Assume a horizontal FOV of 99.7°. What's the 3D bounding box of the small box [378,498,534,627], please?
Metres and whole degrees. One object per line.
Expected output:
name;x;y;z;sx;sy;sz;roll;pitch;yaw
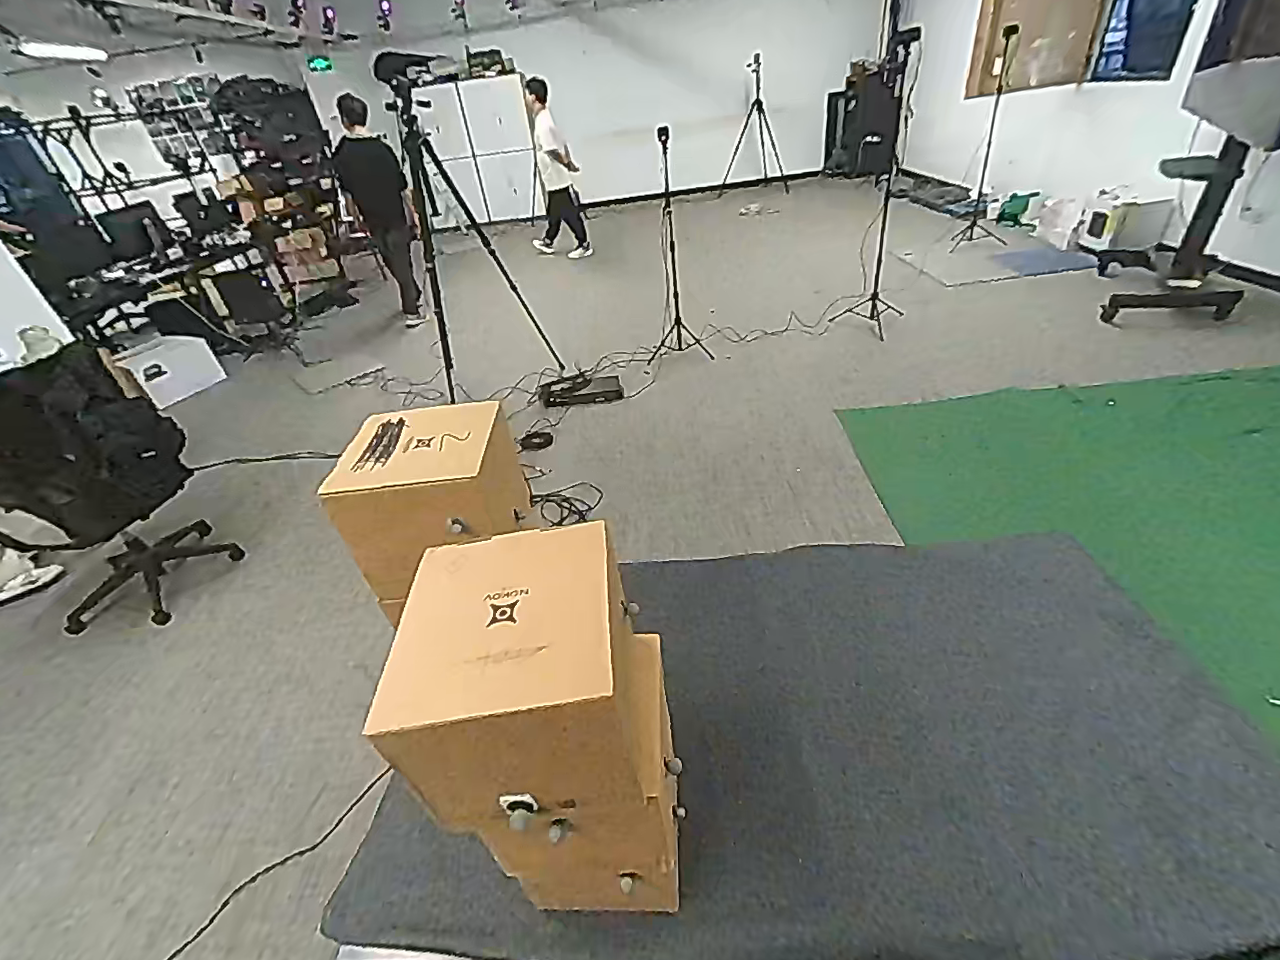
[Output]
small box;-0.233;0.150;0.777;0.179;0.176;0.168;-8;38;2

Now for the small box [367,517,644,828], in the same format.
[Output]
small box;-0.093;0.160;0.461;0.168;0.176;0.179;-10;38;1

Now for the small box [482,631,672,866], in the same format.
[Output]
small box;-0.058;0.280;0.566;0.179;0.176;0.168;-5;37;6

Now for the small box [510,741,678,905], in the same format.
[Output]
small box;-0.044;0.402;0.673;0.179;0.176;0.168;-4;36;7
